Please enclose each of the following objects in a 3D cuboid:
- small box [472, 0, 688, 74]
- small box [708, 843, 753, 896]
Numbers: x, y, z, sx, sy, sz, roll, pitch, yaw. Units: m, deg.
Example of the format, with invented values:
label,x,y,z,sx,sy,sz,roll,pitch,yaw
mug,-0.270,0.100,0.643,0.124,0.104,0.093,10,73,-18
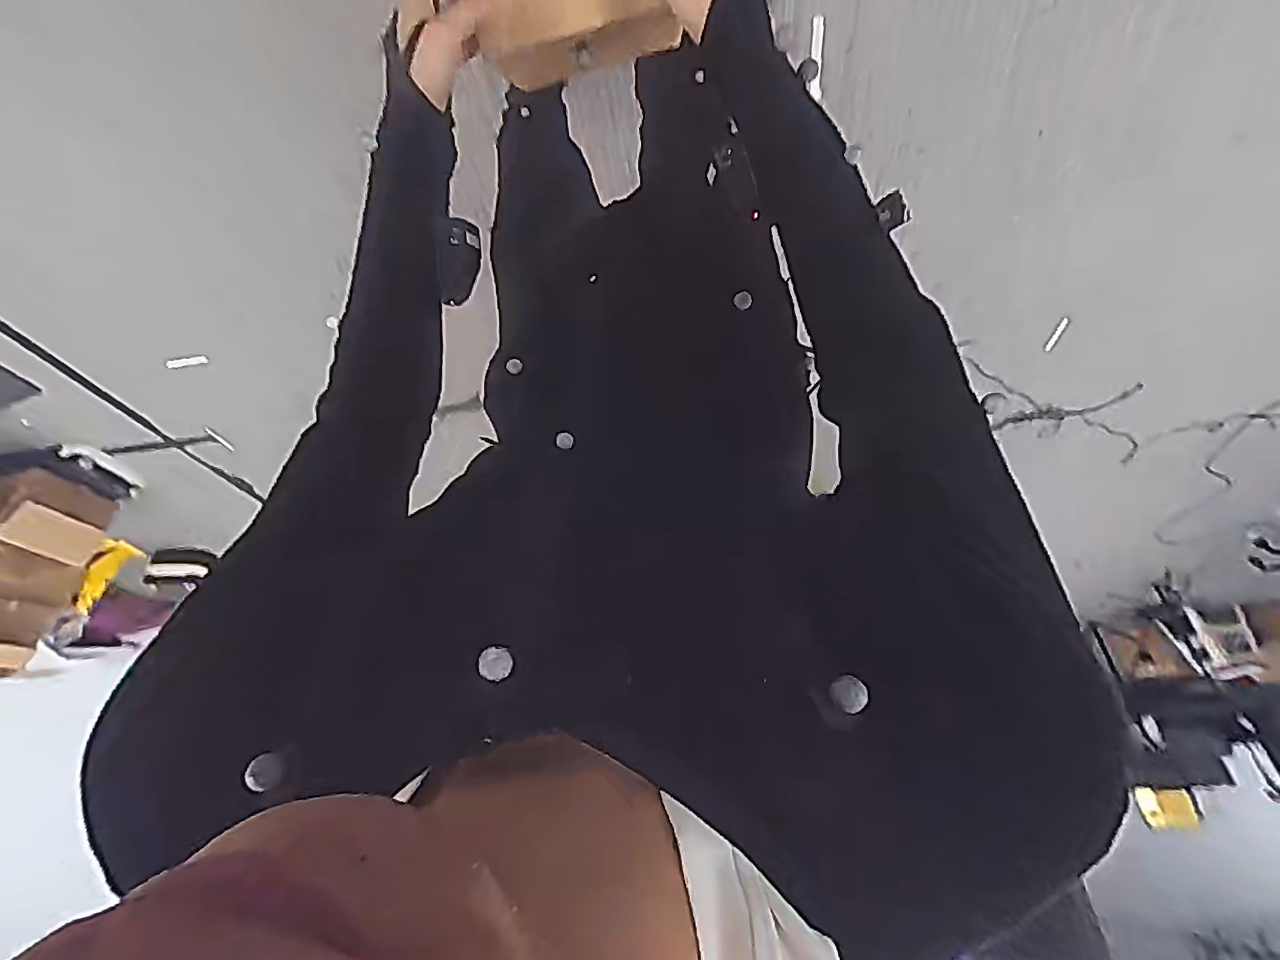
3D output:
label,x,y,z,sx,sy,sz,roll,pitch,yaw
small box,-0.059,-0.480,0.467,0.179,0.176,0.168,-10,119,8
small box,0.376,1.624,2.260,0.168,0.176,0.179,-7,147,6
